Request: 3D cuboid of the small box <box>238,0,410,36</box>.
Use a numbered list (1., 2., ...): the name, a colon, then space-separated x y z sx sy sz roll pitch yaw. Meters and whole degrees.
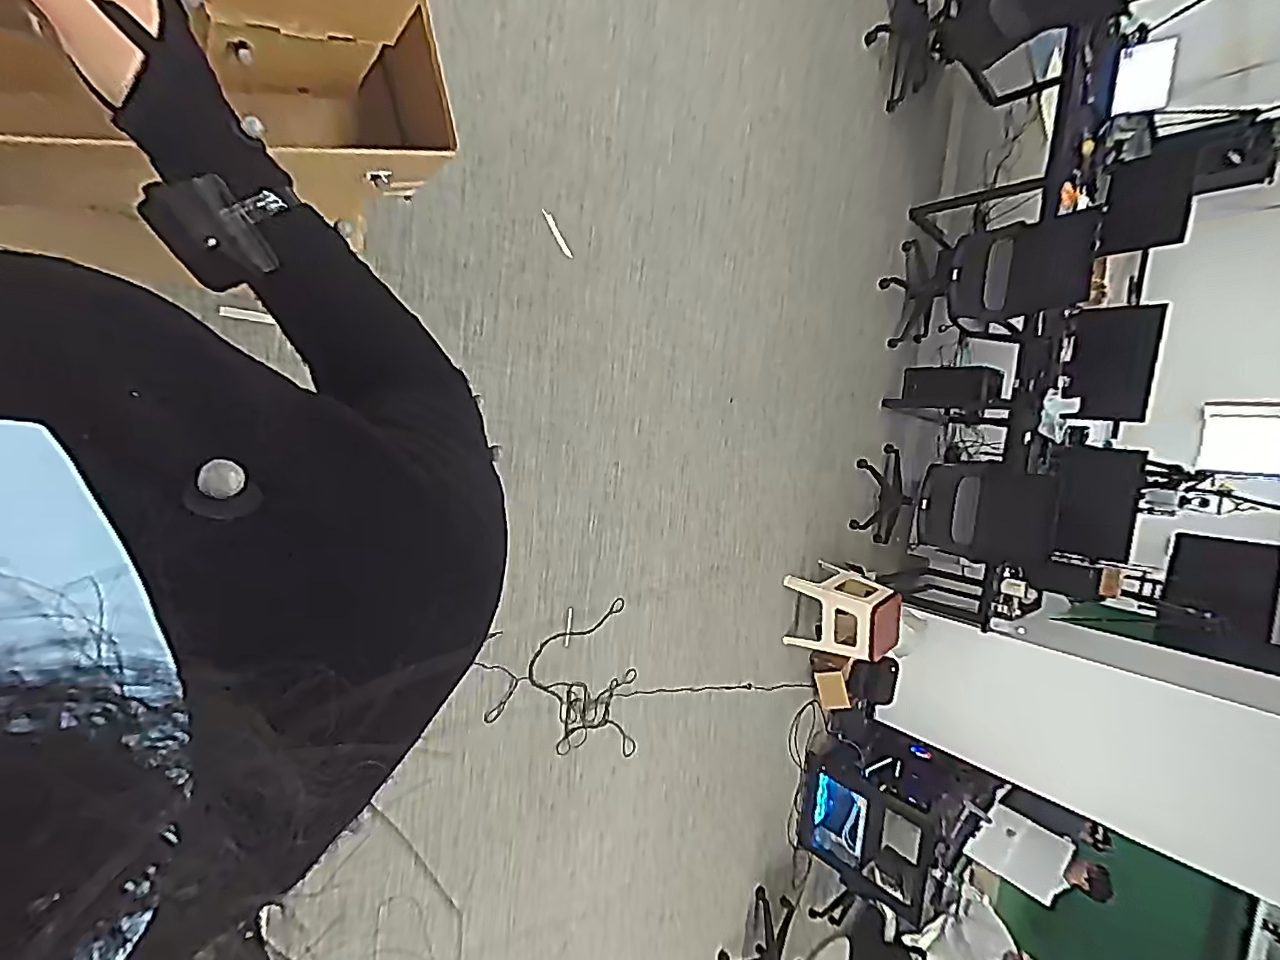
1. small box: -0.299 -0.540 0.478 0.179 0.176 0.168 -18 110 -38
